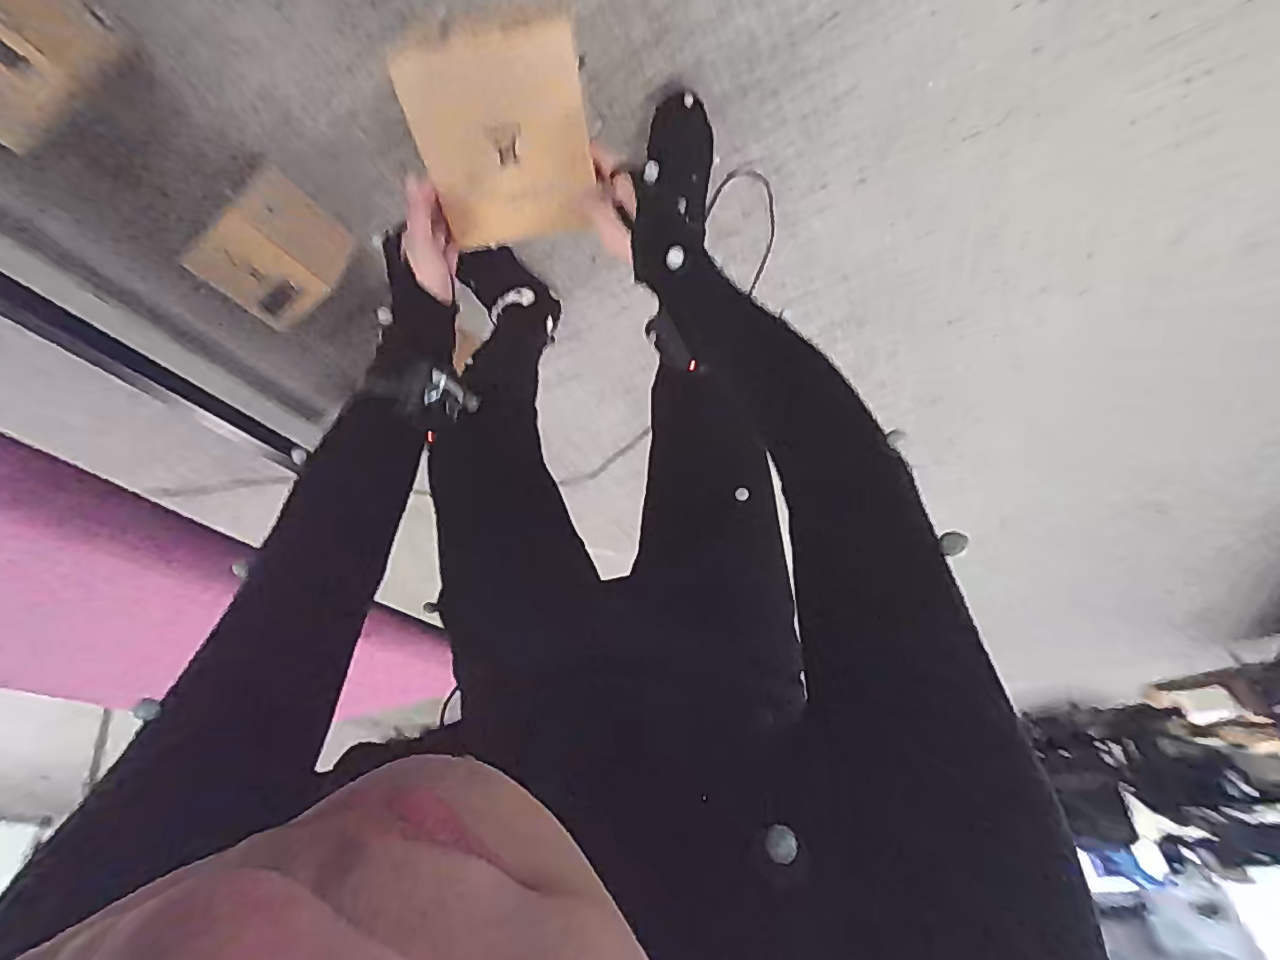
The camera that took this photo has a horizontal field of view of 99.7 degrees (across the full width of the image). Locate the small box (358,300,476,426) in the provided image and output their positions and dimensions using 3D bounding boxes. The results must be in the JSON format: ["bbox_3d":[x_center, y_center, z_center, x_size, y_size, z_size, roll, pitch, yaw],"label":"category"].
[{"bbox_3d":[-0.477,-0.256,1.183,0.179,0.176,0.168,-27,137,28],"label":"small box"}]
